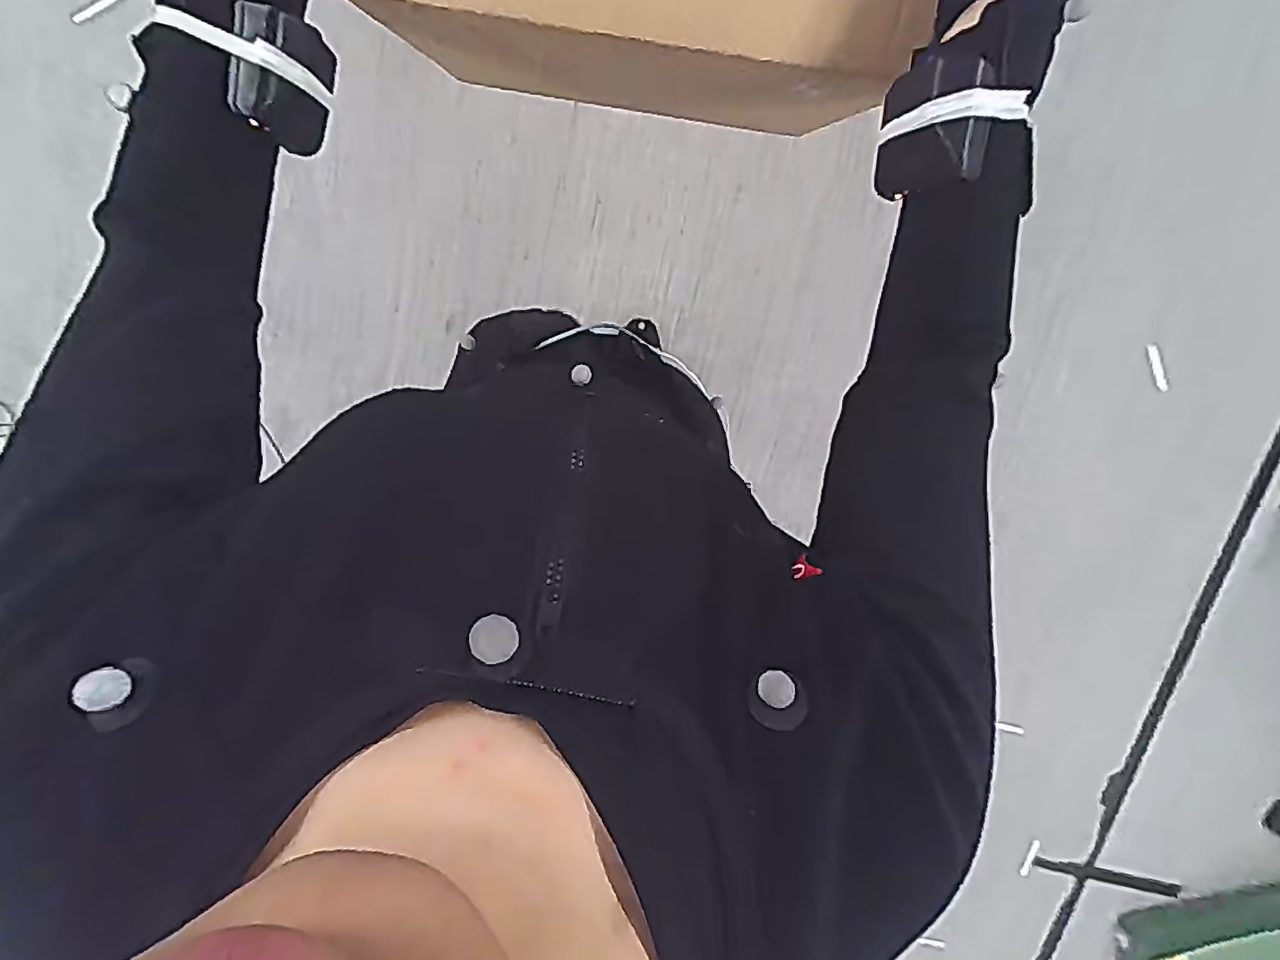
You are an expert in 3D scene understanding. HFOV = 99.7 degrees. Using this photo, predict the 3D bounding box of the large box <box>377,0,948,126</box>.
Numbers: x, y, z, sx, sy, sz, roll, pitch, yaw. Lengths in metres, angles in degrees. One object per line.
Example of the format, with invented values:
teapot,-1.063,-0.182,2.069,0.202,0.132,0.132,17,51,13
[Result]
large box,0.017,-0.507,0.432,0.408,0.320,0.320,6,117,-5
